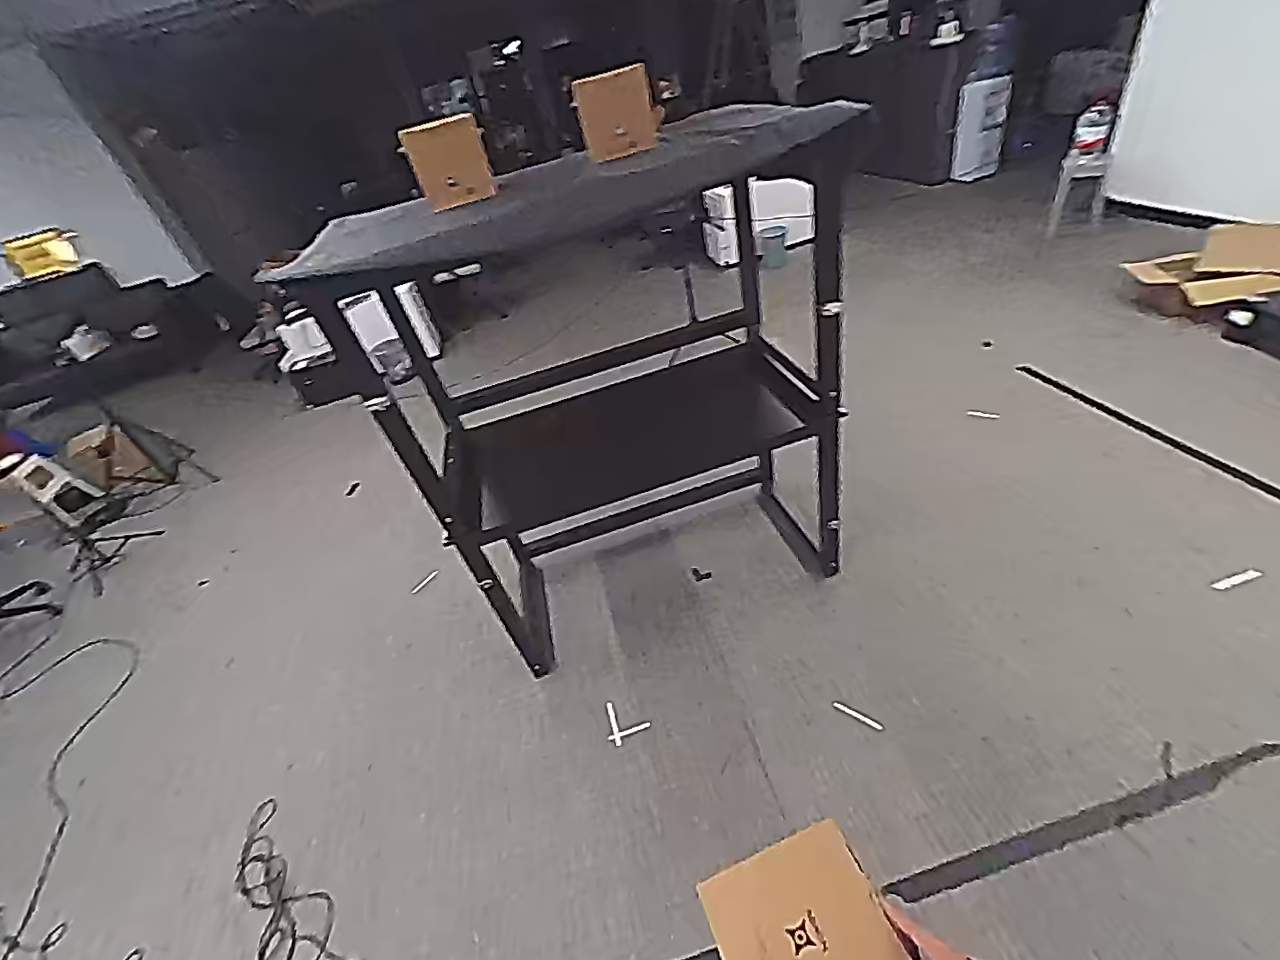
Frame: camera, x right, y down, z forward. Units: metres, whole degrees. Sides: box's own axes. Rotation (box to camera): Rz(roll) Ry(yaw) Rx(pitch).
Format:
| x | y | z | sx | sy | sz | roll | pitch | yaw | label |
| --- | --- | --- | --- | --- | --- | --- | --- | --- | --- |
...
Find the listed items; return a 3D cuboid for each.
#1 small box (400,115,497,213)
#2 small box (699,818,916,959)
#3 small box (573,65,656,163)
| x | y | z | sx | sy | sz | roll | pitch | yaw | label |
| --- | --- | --- | --- | --- | --- | --- | --- | --- | --- |
| -0.461 | -0.764 | 1.307 | 0.168 | 0.176 | 0.179 | -22 | 39 | -8 | small box |
| 0.188 | 0.524 | 0.604 | 0.179 | 0.176 | 0.168 | -24 | 39 | -6 | small box |
| -0.065 | -0.908 | 1.345 | 0.168 | 0.176 | 0.179 | -15 | 38 | 2 | small box |
